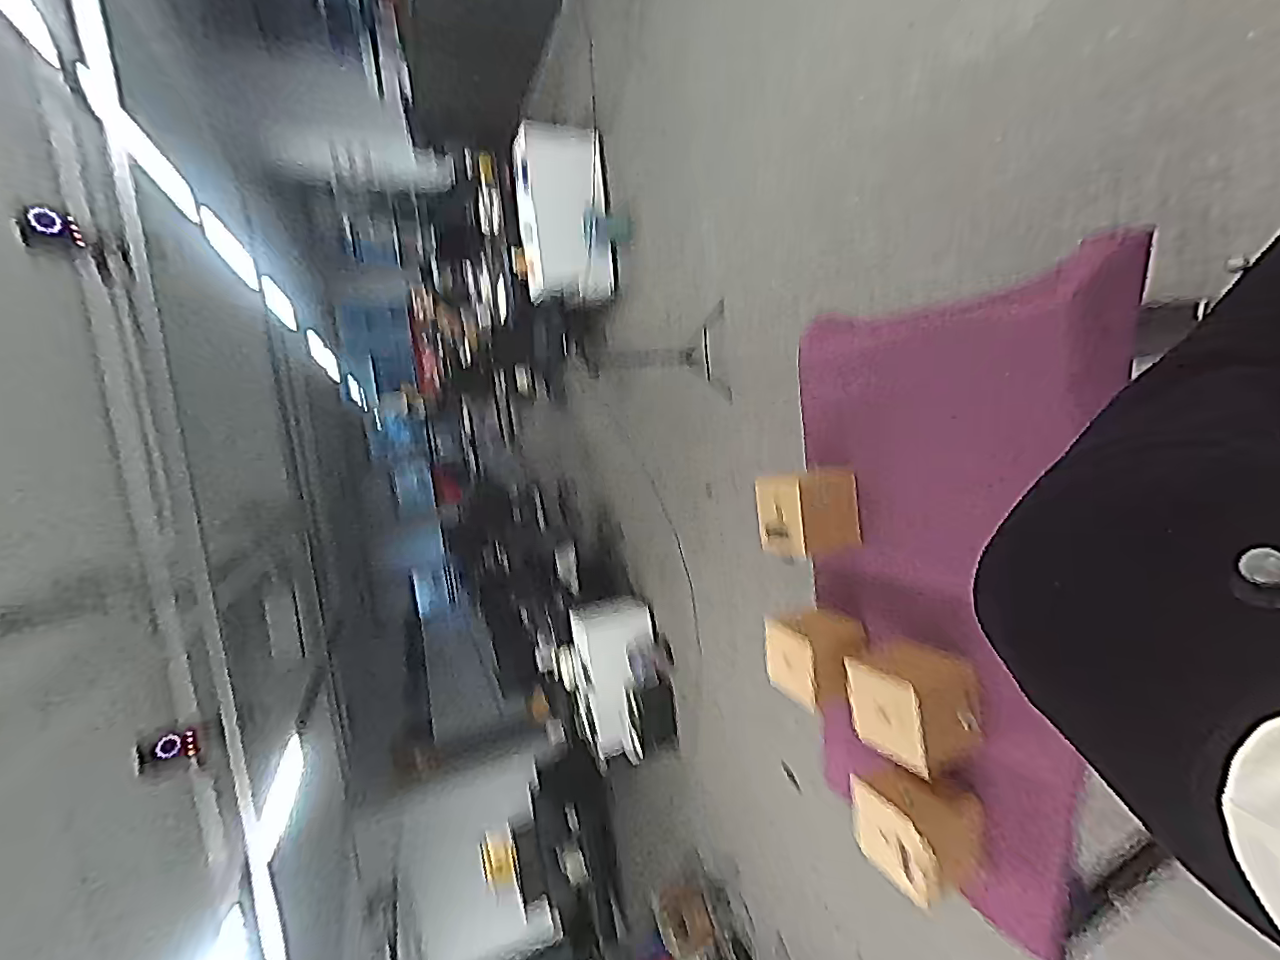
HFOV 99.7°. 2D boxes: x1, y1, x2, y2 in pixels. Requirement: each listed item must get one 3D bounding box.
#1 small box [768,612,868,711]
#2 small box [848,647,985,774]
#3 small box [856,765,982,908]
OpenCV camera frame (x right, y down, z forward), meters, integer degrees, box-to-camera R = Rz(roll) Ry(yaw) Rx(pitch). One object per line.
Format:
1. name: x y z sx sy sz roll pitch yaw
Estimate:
1. small box: 0.444 0.445 1.360 0.179 0.176 0.168 -166 69 -65
2. small box: 0.559 0.455 1.101 0.179 0.176 0.168 178 83 -68
3. small box: 0.586 0.726 1.133 0.179 0.176 0.168 -174 77 -68
